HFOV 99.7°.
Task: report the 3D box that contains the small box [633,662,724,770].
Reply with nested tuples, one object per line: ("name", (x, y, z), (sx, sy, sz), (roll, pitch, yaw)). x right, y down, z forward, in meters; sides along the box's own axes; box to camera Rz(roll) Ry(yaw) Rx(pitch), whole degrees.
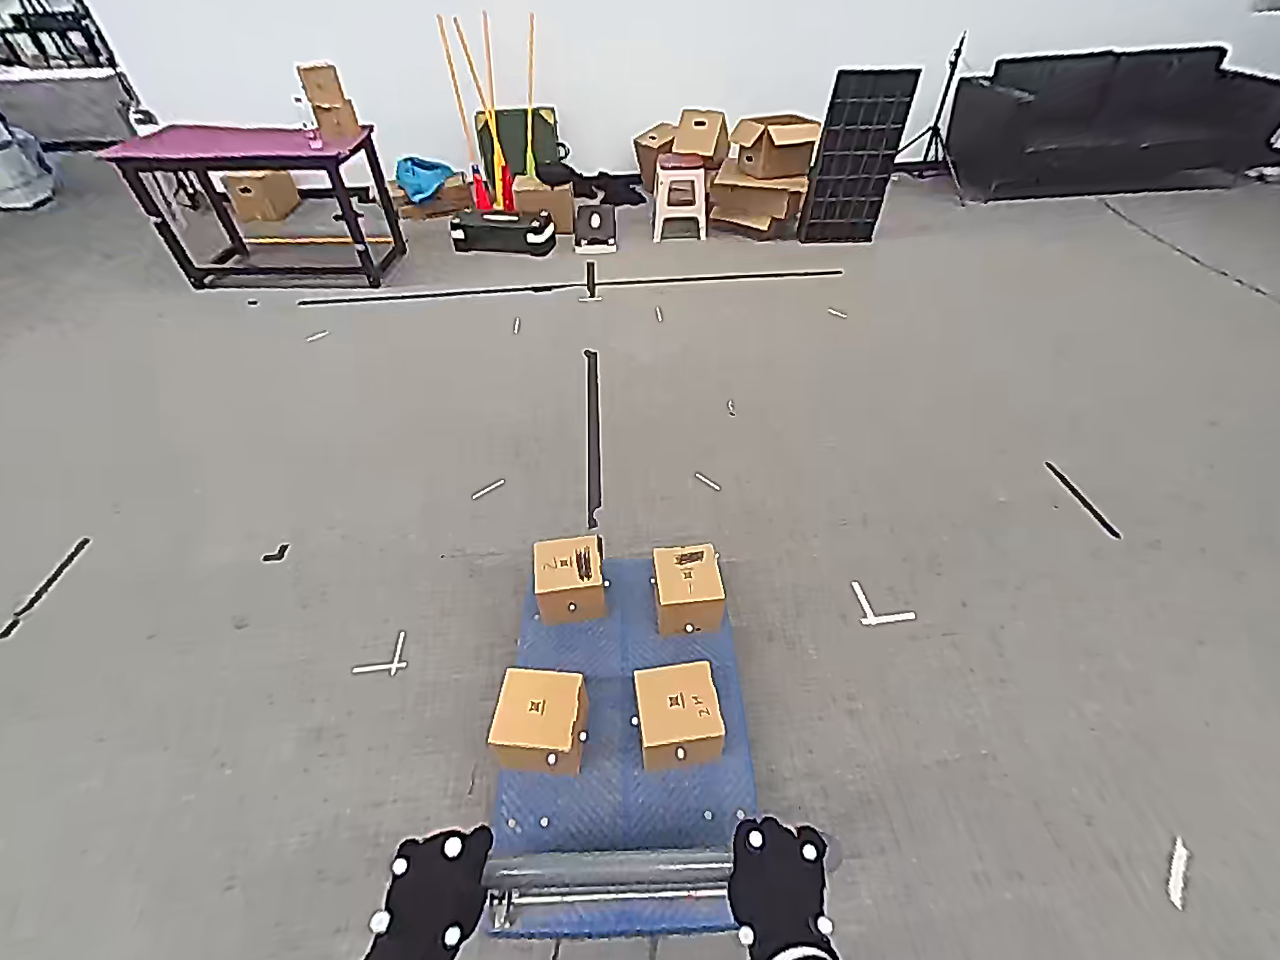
("small box", (0.082, 0.535, 1.220), (0.179, 0.176, 0.168), (-6, 46, -4))

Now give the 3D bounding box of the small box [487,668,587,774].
("small box", (-0.222, 0.546, 1.219), (0.179, 0.176, 0.168), (4, 45, 3))

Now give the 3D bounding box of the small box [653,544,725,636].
("small box", (0.125, 0.297, 1.455), (0.168, 0.176, 0.179), (-5, 46, -3))
